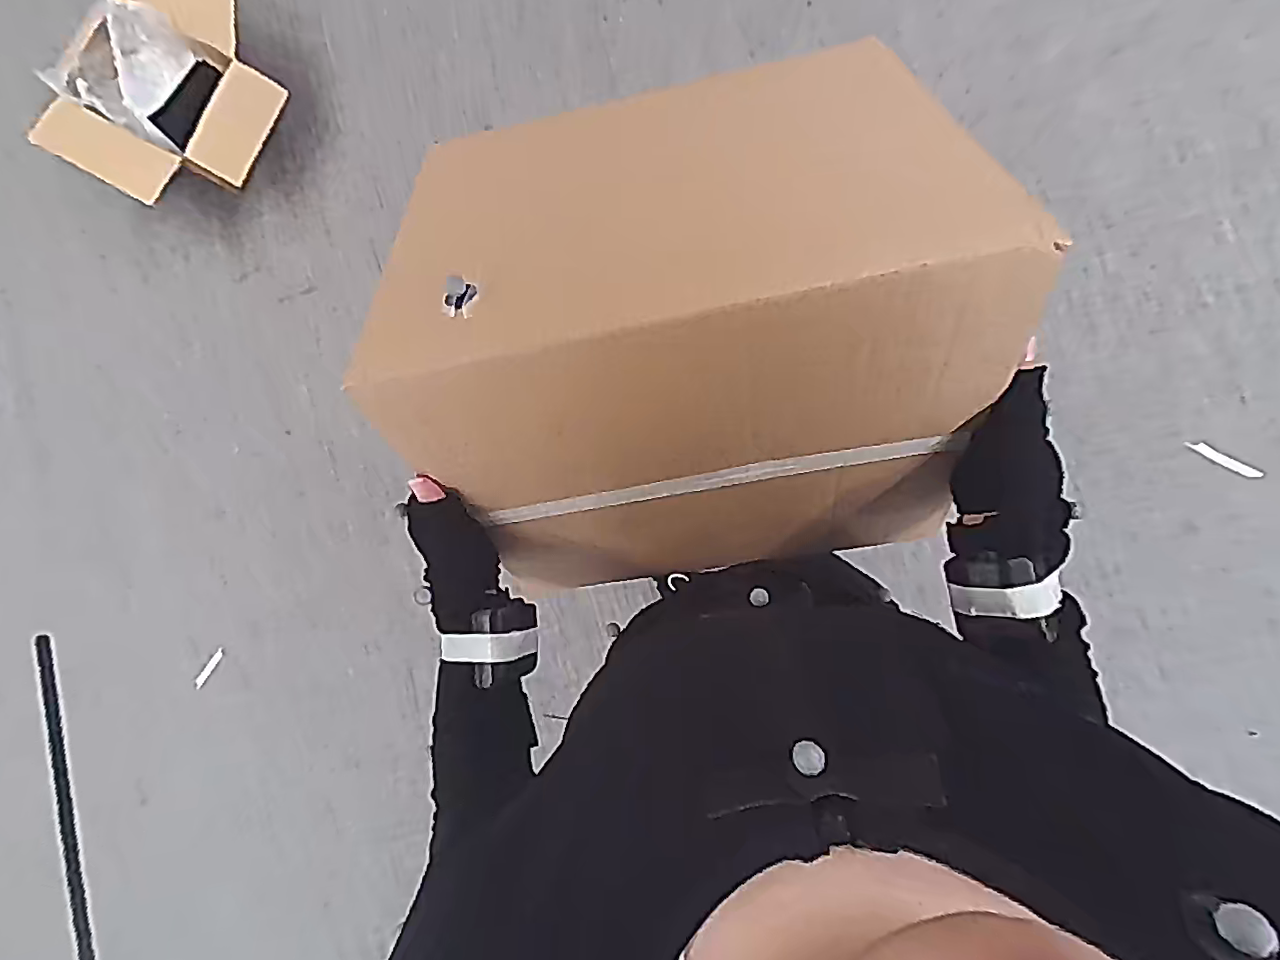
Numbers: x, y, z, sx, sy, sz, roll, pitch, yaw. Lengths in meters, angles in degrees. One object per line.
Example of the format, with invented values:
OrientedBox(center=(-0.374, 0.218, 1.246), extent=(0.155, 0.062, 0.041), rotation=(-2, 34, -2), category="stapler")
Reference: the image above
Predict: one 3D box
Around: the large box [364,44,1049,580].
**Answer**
OrientedBox(center=(0.040, -0.134, 0.512), extent=(0.408, 0.320, 0.320), rotation=(-9, 55, 7), category="large box")
